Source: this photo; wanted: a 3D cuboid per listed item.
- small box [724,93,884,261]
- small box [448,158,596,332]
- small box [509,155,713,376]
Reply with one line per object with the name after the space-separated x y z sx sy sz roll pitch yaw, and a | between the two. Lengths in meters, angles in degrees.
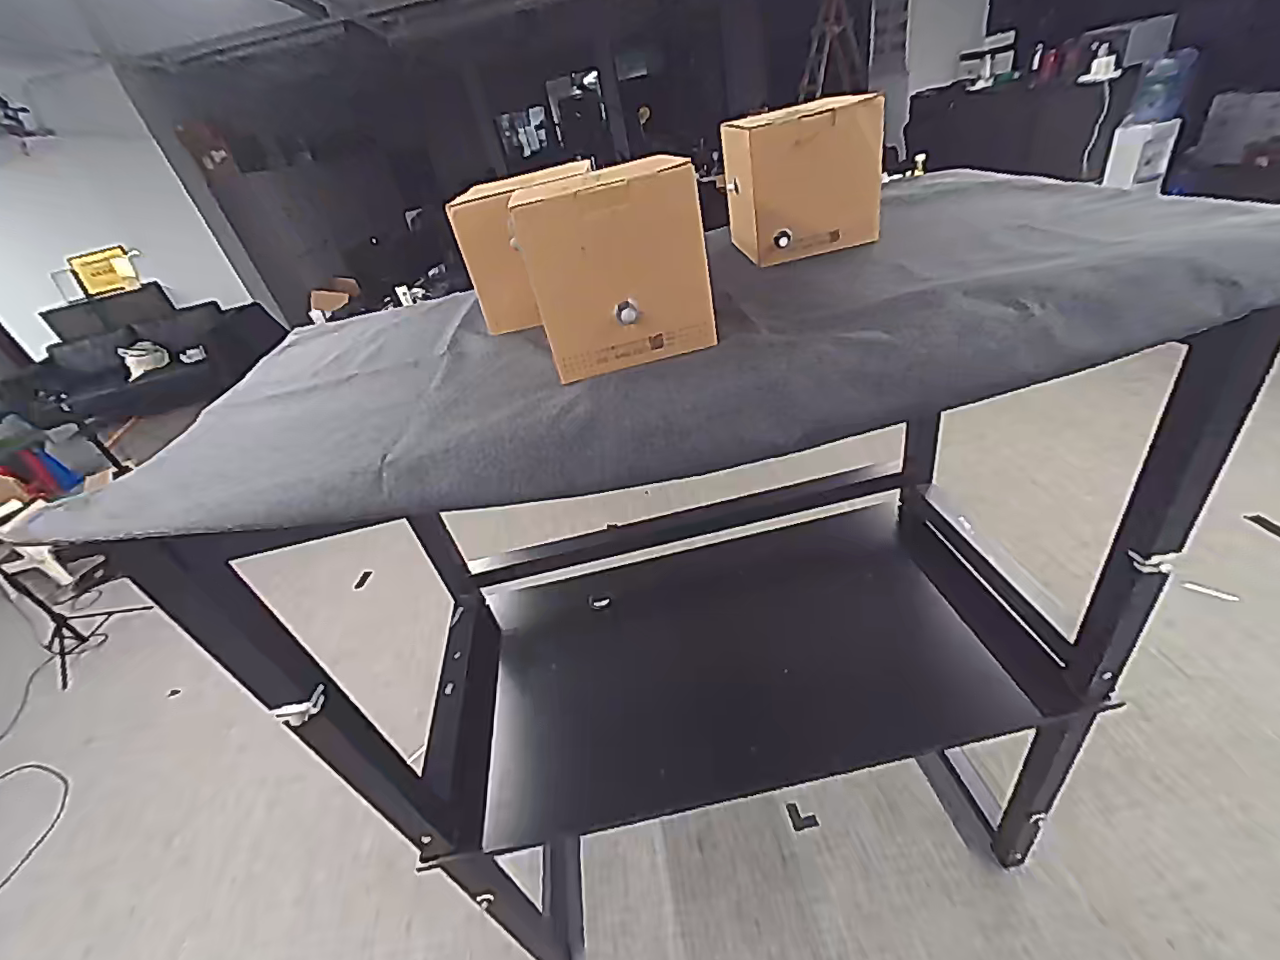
0.222 -0.419 0.757 0.168 0.176 0.179 -12 34 3 | small box
-0.132 -0.324 0.746 0.179 0.176 0.168 -11 35 5 | small box
-0.028 -0.229 0.572 0.168 0.176 0.179 -14 34 -1 | small box
